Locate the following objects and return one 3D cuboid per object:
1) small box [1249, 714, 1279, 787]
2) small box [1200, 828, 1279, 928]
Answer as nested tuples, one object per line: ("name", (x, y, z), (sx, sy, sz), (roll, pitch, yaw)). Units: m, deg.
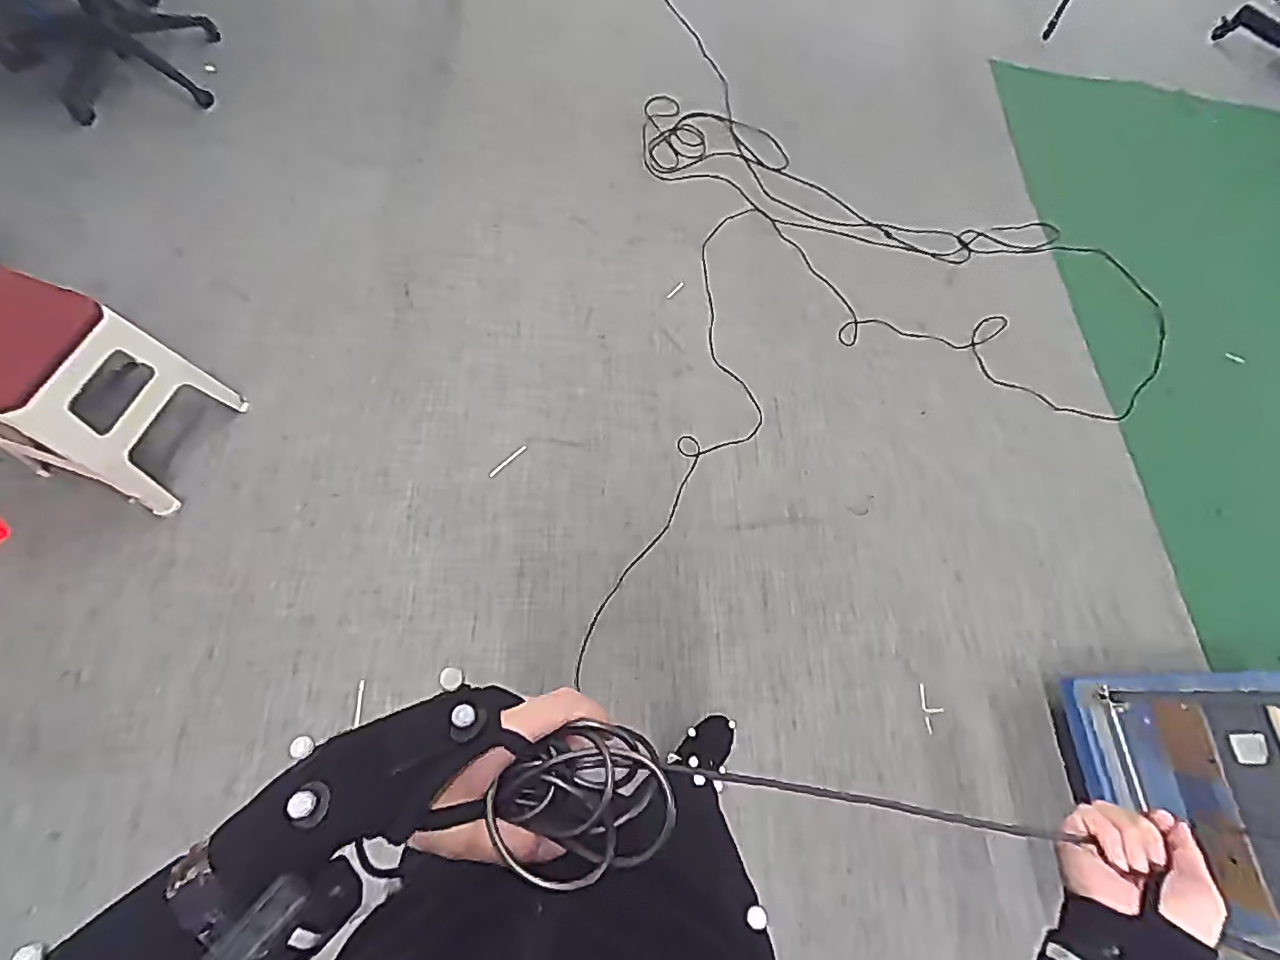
("small box", (1.711, 0.684, 1.360), (0.179, 0.176, 0.168), (-2, 69, -8))
("small box", (1.466, 0.910, 1.236), (0.179, 0.176, 0.168), (2, 68, -6))
